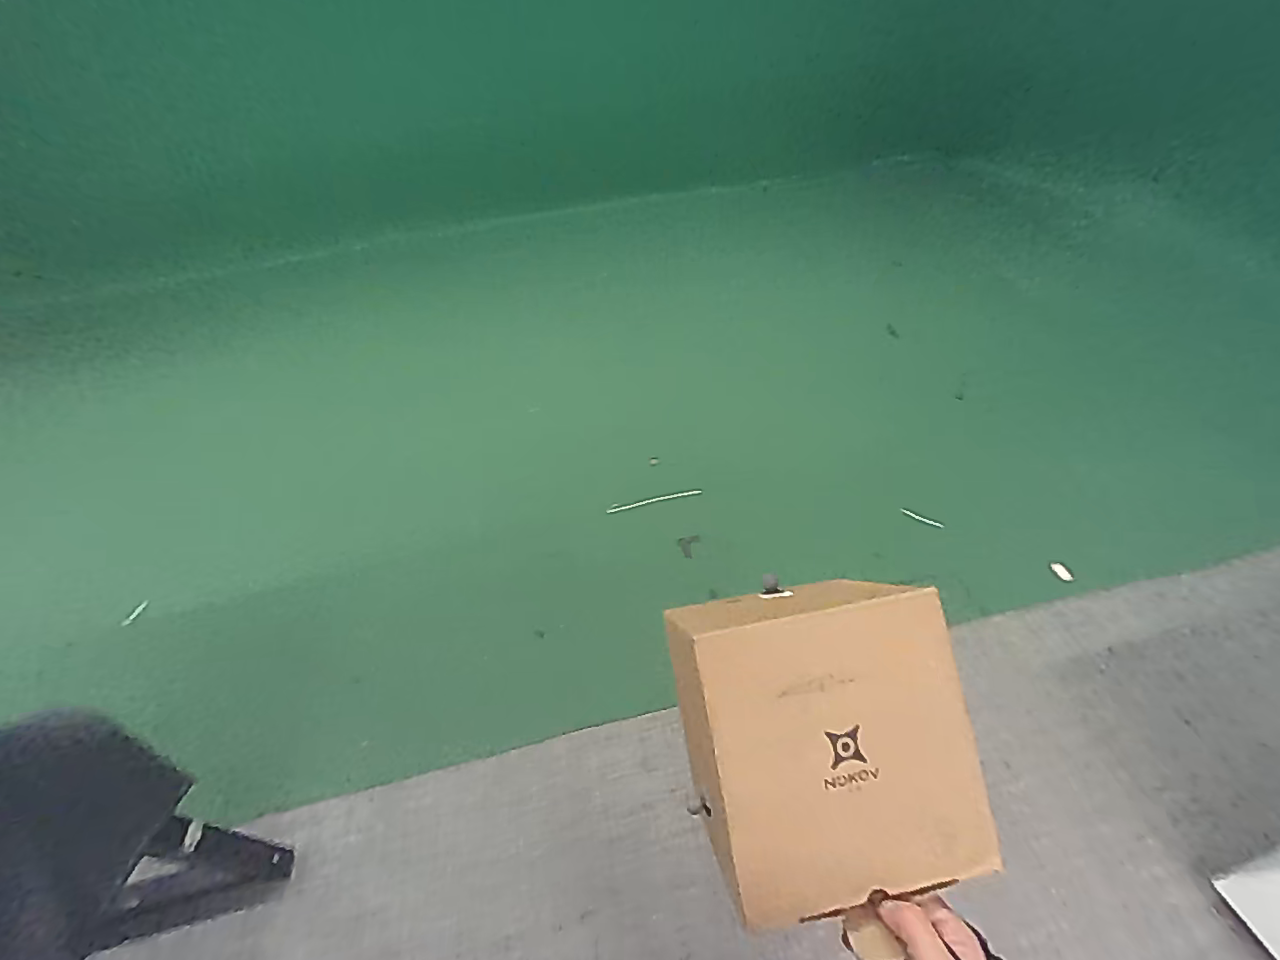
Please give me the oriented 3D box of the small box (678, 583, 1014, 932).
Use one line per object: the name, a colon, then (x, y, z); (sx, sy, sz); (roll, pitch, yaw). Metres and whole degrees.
small box: (0.131, 0.181, 0.413); (0.168, 0.176, 0.179); (-9, 82, -5)
